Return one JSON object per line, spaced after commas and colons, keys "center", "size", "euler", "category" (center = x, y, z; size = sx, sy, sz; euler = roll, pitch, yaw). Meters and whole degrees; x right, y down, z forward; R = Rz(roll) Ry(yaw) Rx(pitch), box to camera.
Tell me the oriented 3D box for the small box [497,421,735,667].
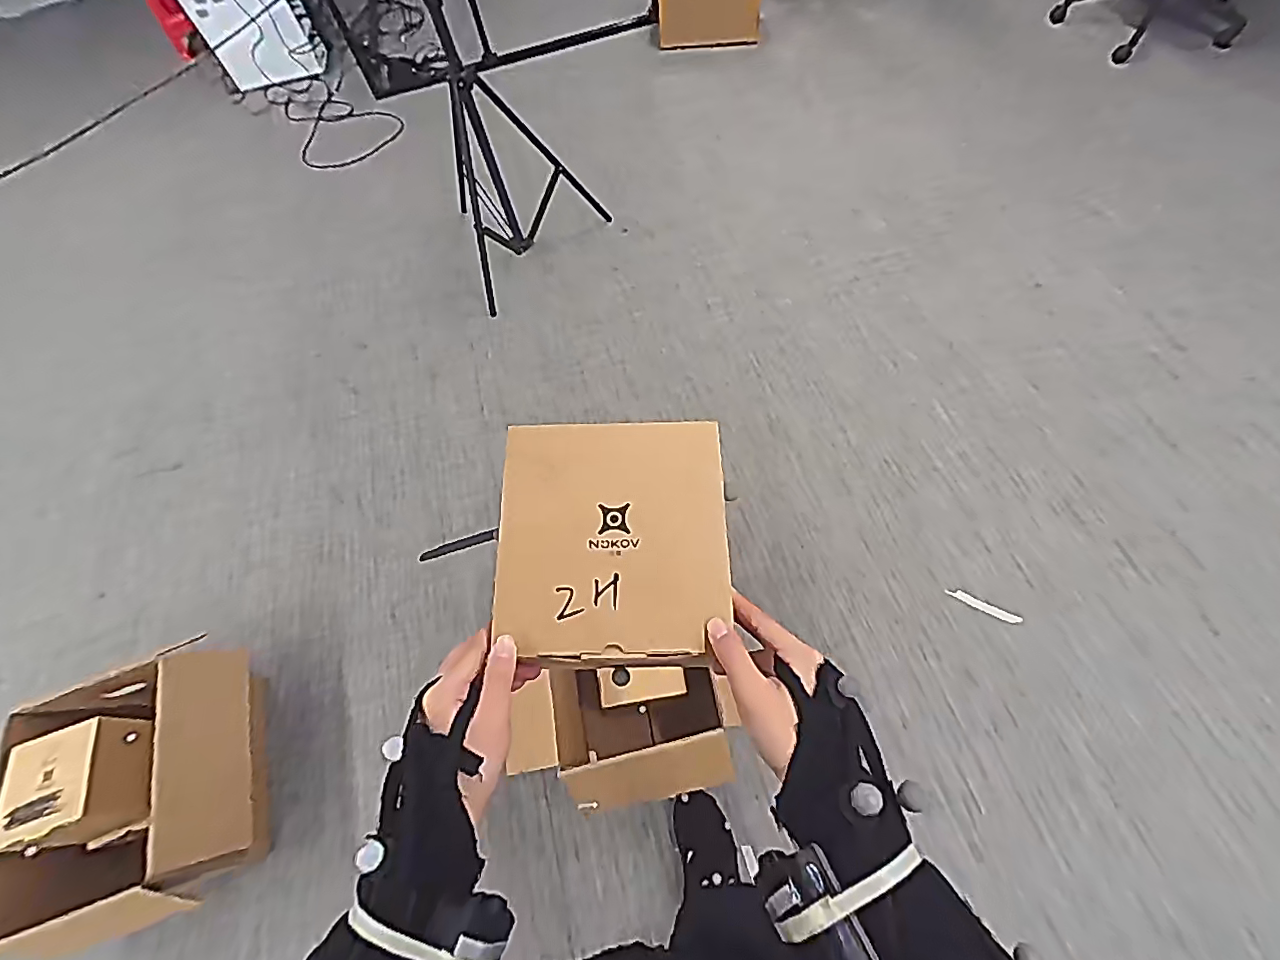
{"center": [-0.016, 0.065, 0.471], "size": [0.168, 0.176, 0.179], "euler": [-2, 68, 1], "category": "small box"}
